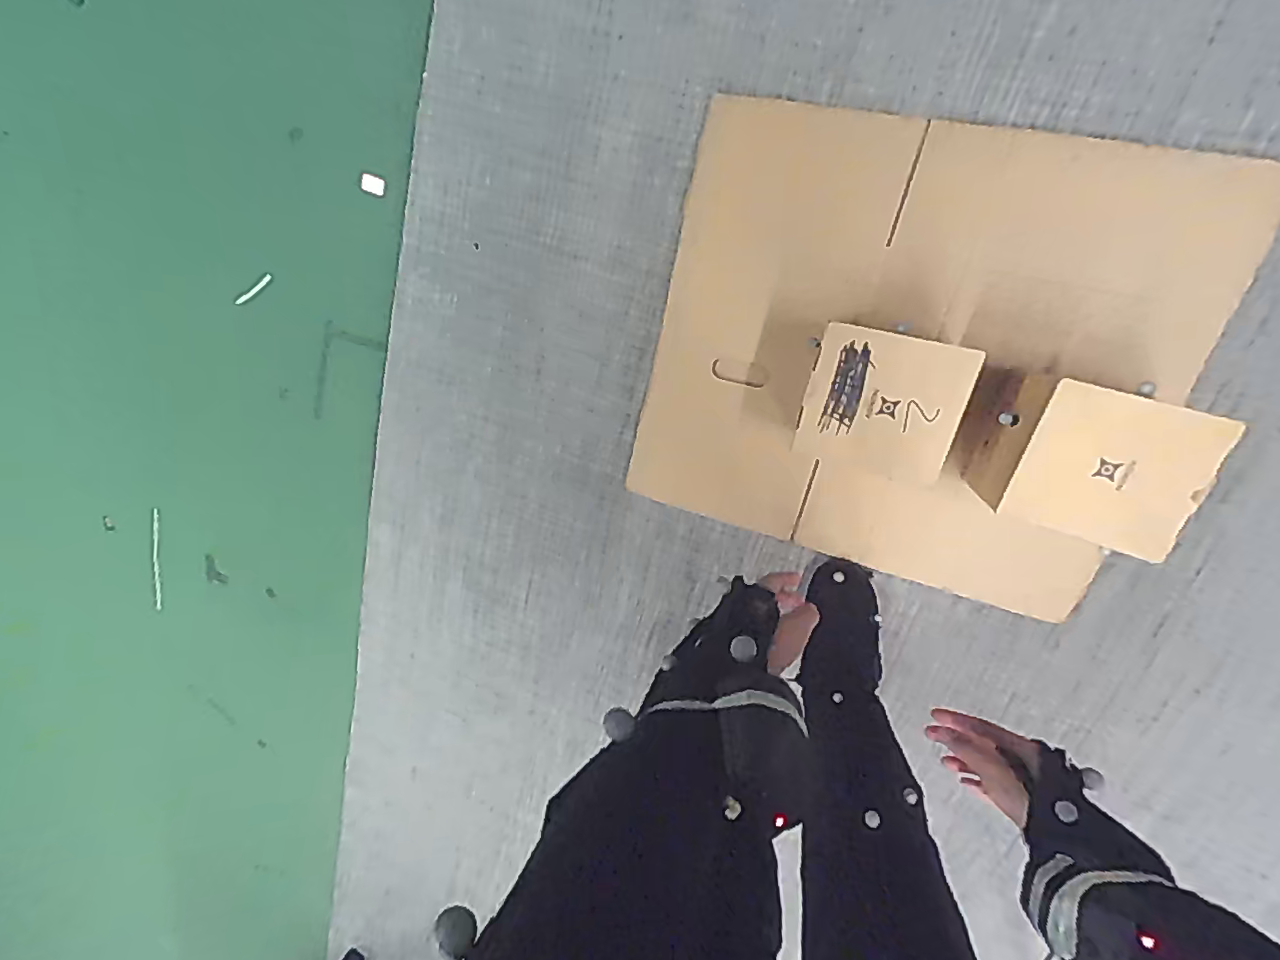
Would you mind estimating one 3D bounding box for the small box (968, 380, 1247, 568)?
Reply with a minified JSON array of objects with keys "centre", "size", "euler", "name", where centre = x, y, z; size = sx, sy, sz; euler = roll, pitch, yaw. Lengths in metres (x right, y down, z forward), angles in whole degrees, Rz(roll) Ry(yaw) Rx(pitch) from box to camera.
[{"centre":[0.536,-0.021,0.659],"size":[0.179,0.176,0.168],"euler":[19,108,13],"name":"small box"}]
